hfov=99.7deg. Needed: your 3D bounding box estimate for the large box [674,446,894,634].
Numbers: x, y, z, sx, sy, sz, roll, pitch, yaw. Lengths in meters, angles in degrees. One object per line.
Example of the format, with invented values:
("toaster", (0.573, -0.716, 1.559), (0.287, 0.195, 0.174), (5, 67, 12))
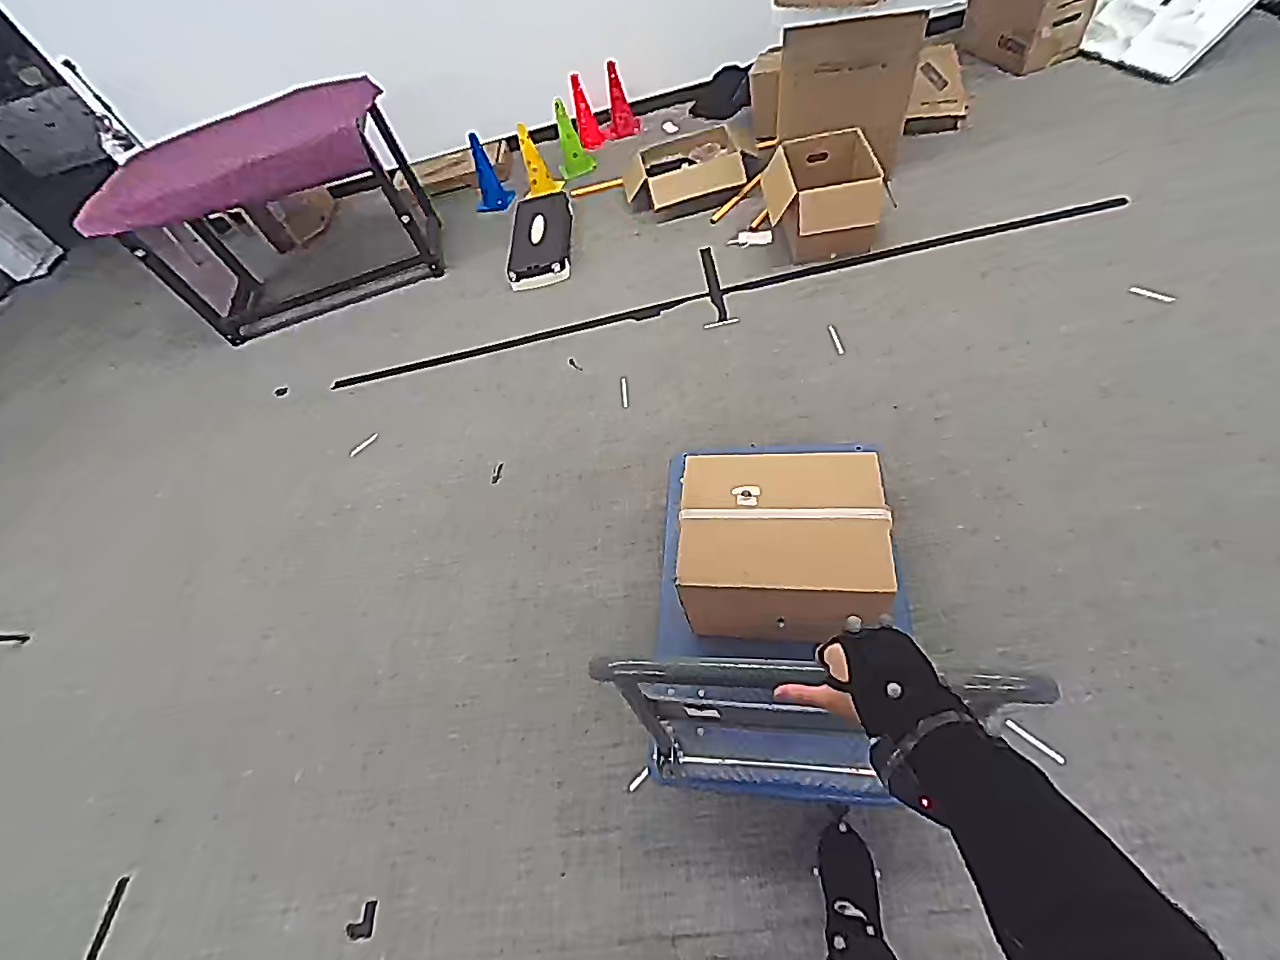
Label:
("large box", (0.307, 0.146, 1.204), (0.408, 0.320, 0.320), (-2, 55, 14))
